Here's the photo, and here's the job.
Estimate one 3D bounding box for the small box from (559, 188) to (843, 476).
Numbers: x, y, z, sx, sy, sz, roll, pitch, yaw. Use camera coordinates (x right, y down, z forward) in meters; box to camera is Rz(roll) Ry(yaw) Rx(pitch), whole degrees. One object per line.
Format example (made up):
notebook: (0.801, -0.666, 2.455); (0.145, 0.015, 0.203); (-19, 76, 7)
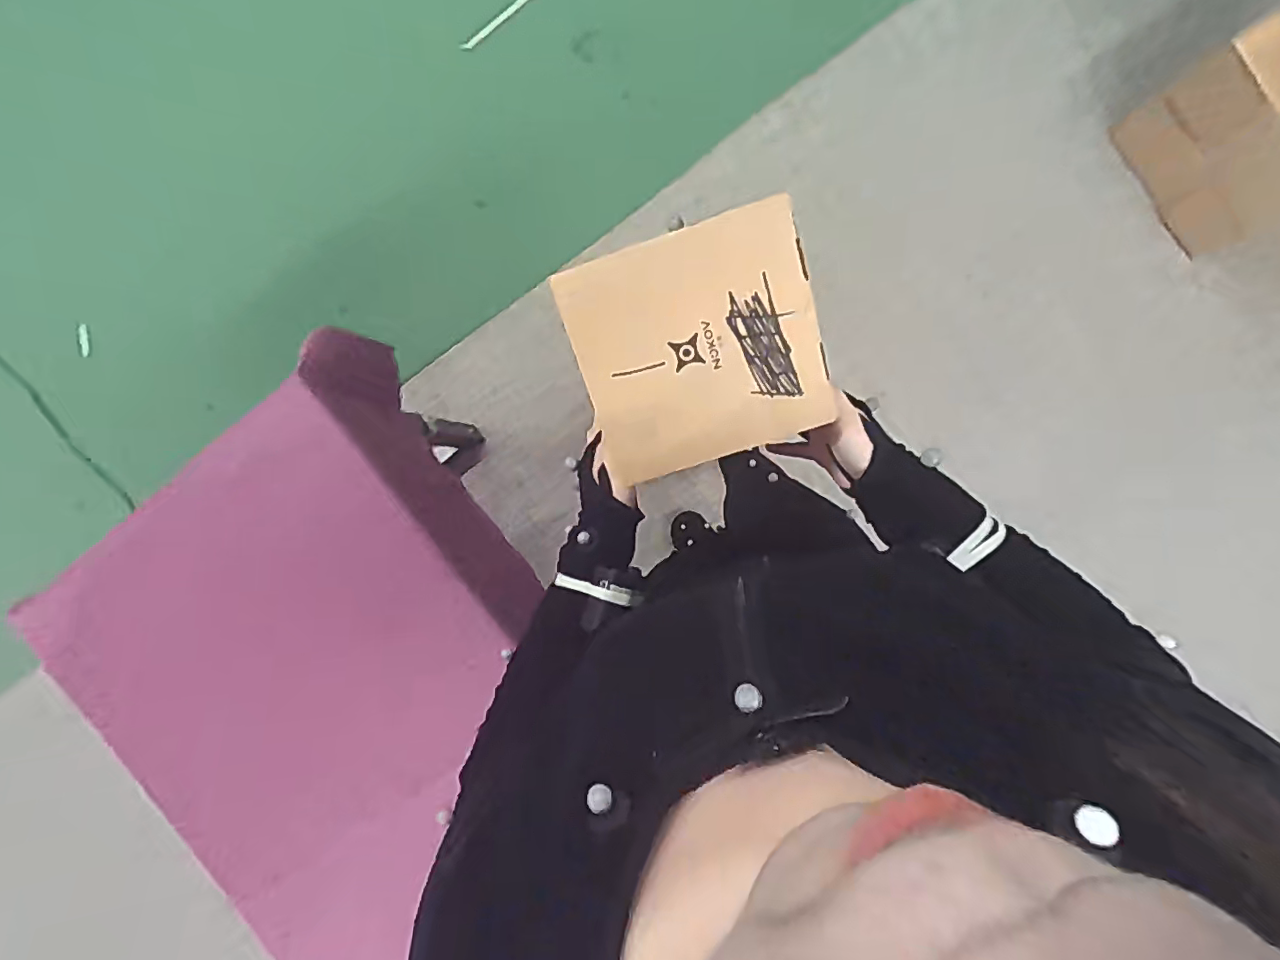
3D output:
small box: (0.048, -0.124, 0.463); (0.179, 0.176, 0.168); (-16, 107, 7)
